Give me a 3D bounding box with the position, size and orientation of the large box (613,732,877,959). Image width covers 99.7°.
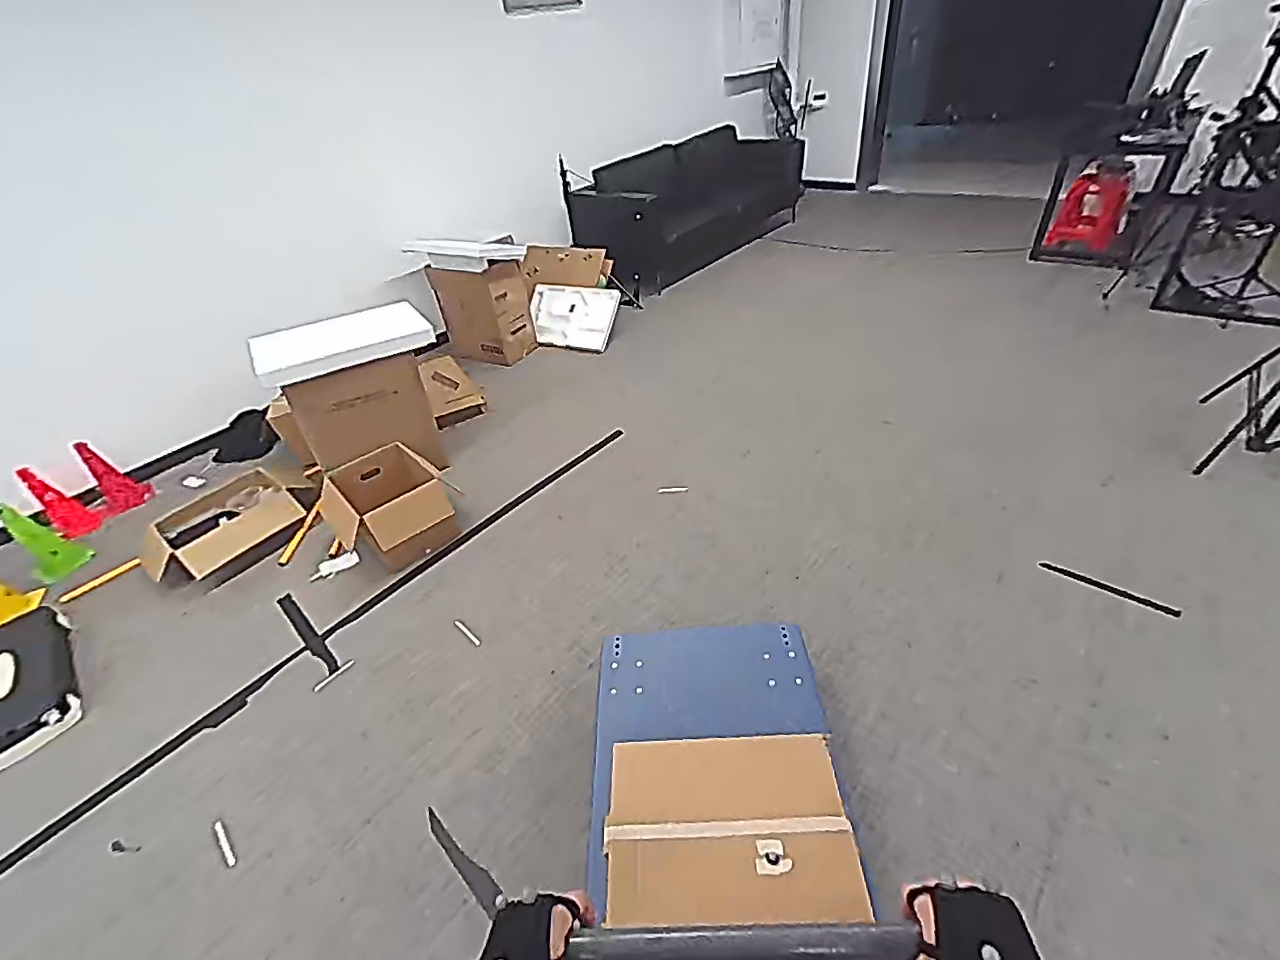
[{"bbox_3d":[0.163,0.708,1.010,0.408,0.320,0.320,-4,39,2],"label":"large box"}]
